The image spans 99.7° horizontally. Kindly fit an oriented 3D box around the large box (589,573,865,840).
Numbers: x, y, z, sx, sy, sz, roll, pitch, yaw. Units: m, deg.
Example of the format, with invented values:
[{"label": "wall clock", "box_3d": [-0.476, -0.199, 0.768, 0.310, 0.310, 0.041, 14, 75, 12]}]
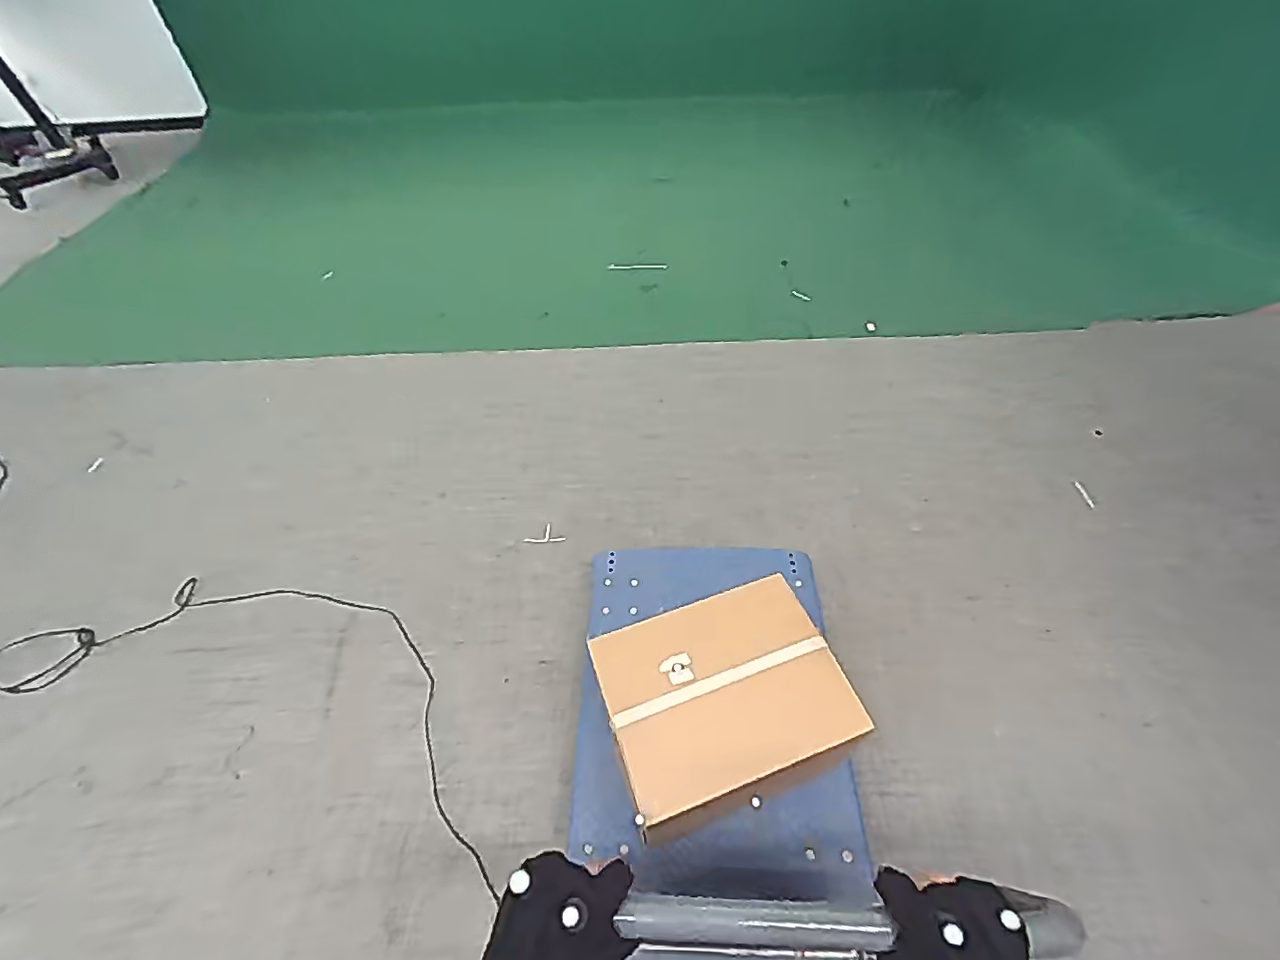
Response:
[{"label": "large box", "box_3d": [0.149, 0.446, 1.066, 0.408, 0.320, 0.320, -18, 51, -11]}]
